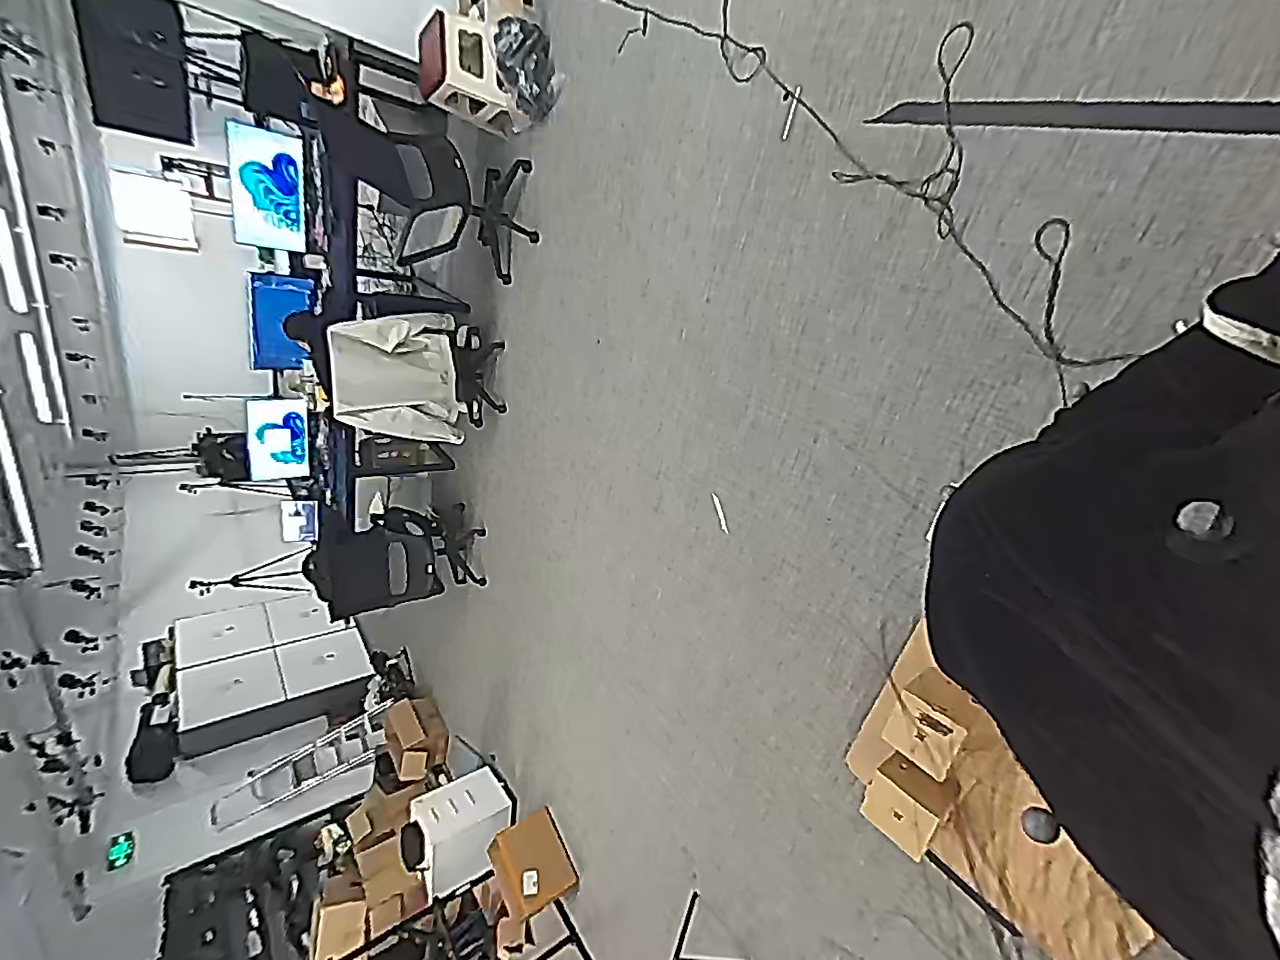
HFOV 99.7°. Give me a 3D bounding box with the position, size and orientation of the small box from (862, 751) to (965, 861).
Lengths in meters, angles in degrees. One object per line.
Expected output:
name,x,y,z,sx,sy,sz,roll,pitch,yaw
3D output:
small box,0.749,0.878,1.484,0.179,0.176,0.168,29,119,43

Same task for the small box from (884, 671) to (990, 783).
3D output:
small box,0.776,0.631,1.408,0.168,0.176,0.179,32,120,43
